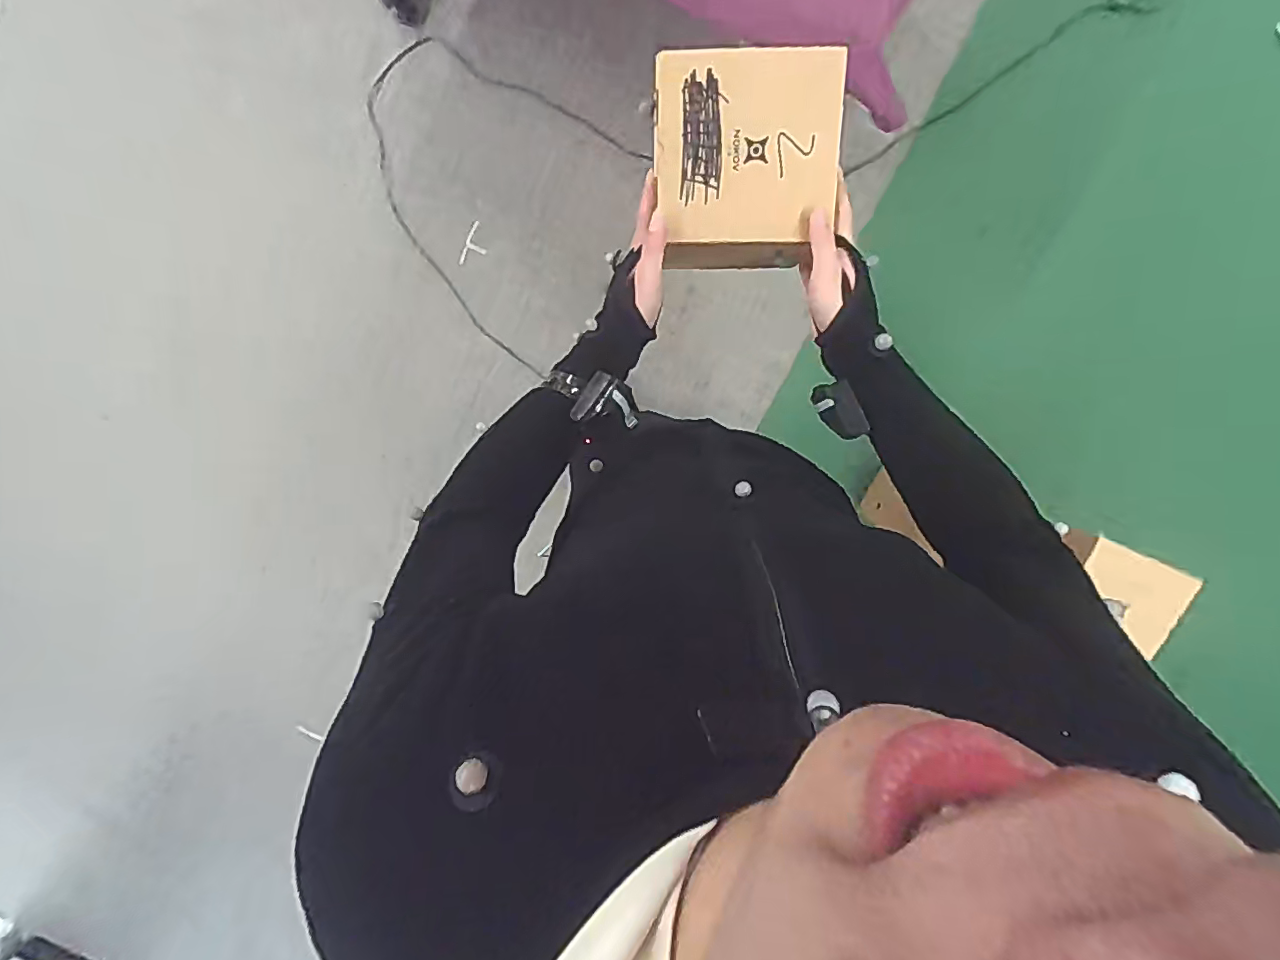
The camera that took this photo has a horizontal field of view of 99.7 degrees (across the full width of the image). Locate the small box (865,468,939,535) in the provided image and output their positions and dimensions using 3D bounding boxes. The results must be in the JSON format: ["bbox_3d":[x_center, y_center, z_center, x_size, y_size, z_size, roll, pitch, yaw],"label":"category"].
[{"bbox_3d":[0.752,0.084,1.500,0.168,0.176,0.179,27,100,0],"label":"small box"}]

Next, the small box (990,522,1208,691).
[{"bbox_3d":[0.702,0.189,0.857,0.168,0.176,0.179,25,99,0],"label":"small box"}]
